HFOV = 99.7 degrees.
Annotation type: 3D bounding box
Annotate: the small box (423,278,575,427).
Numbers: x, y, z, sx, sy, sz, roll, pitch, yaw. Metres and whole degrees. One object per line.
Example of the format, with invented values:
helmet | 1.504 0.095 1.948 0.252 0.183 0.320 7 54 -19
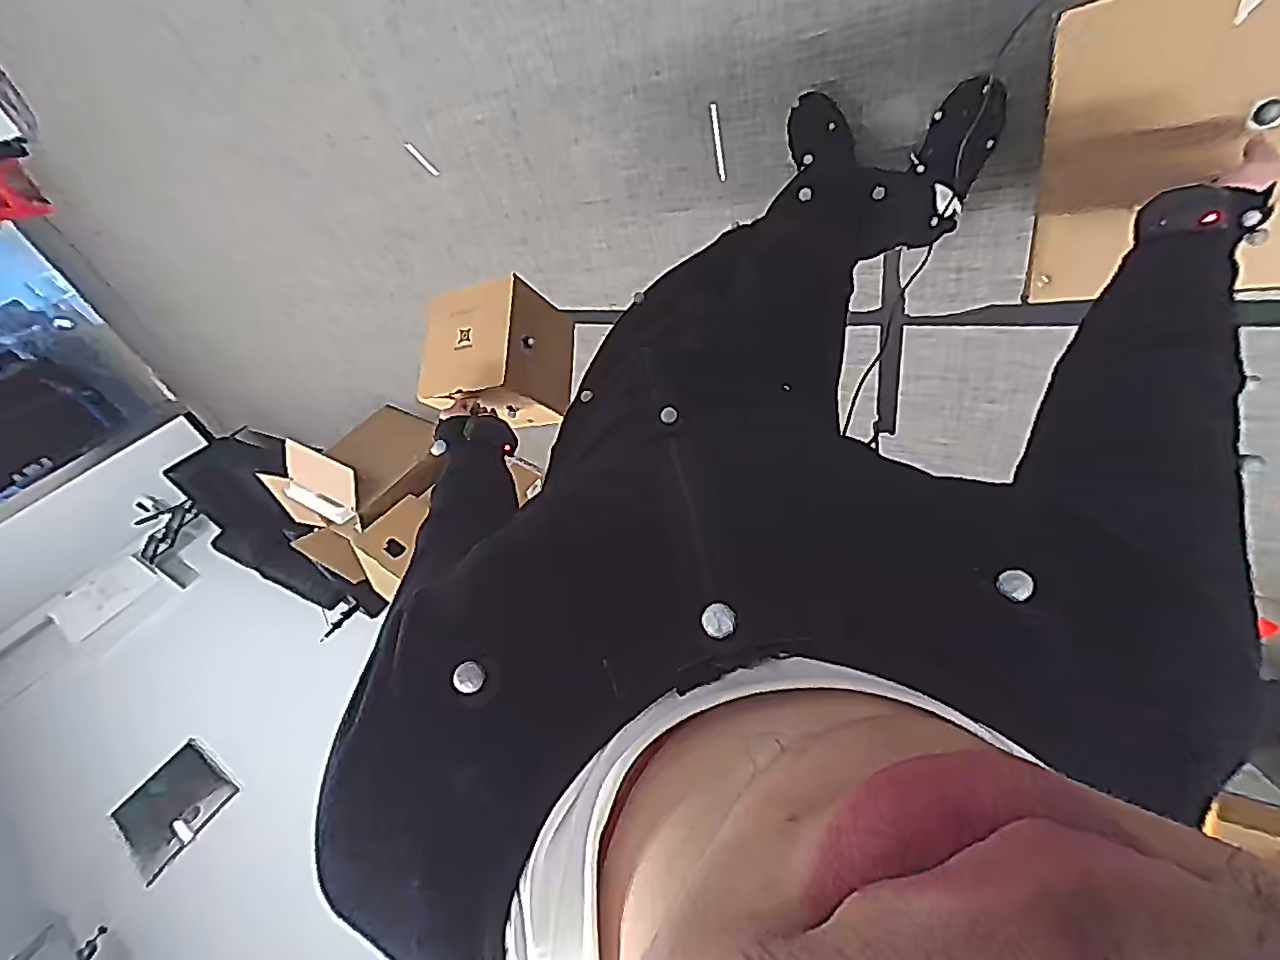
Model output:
small box | -0.217 -0.188 0.867 0.168 0.179 0.176 -3 167 25
